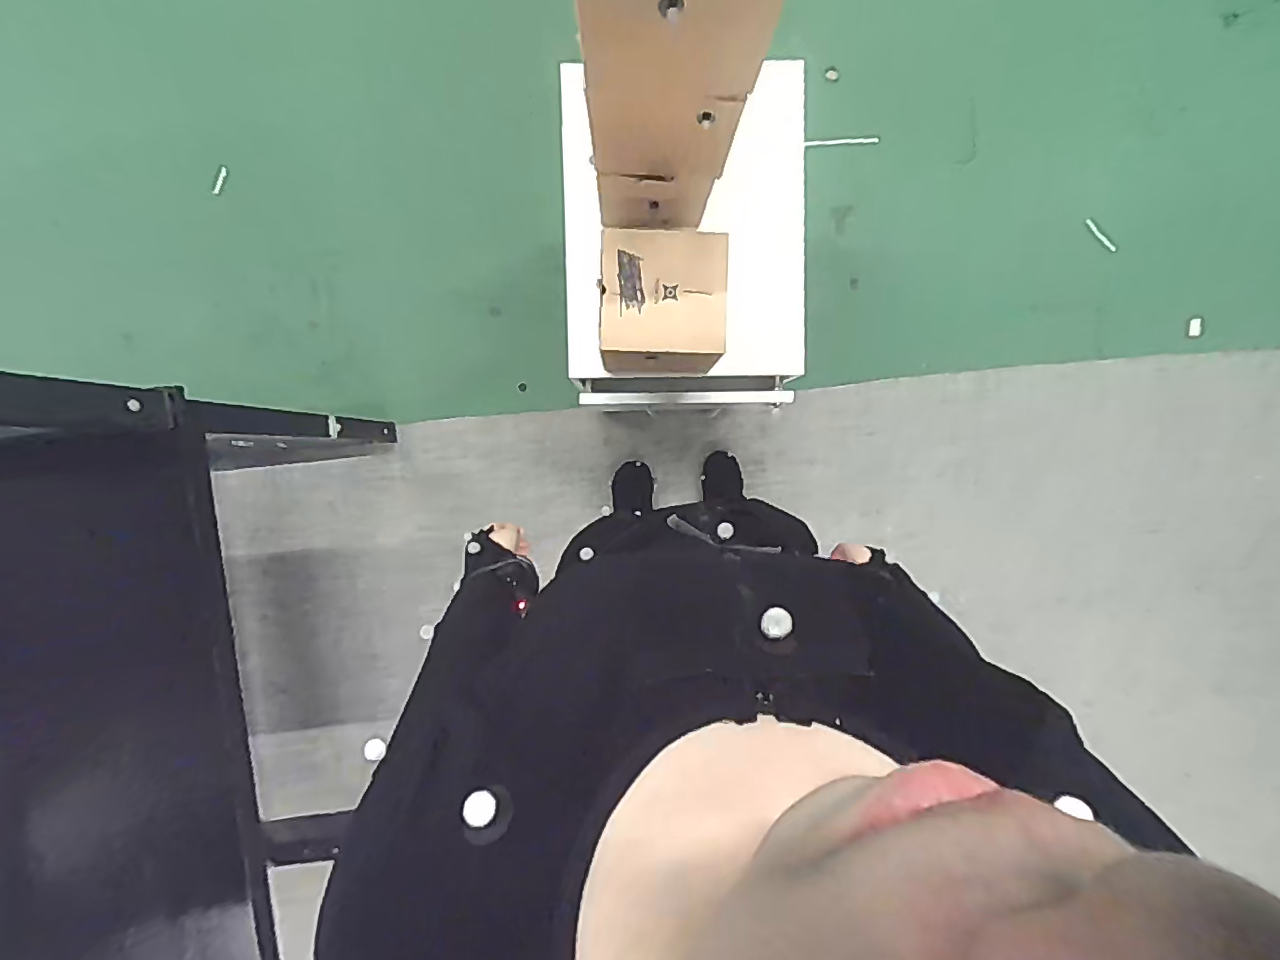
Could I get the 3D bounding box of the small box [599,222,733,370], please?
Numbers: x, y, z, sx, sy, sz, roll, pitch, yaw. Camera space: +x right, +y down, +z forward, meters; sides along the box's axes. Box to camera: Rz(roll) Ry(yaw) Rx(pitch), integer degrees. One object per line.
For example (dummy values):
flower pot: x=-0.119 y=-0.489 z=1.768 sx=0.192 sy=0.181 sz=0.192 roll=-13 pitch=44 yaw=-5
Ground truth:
small box: x=0.033 y=-0.260 z=0.798 sx=0.179 sy=0.176 sz=0.168 roll=1 pitch=92 yaw=-2

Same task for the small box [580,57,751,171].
small box: x=0.028 y=-0.483 z=0.625 sx=0.179 sy=0.176 sz=0.168 roll=2 pitch=93 yaw=-2

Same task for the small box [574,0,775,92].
small box: x=0.026 y=-0.468 z=0.461 sx=0.179 sy=0.176 sz=0.168 roll=-5 pitch=94 yaw=-1
